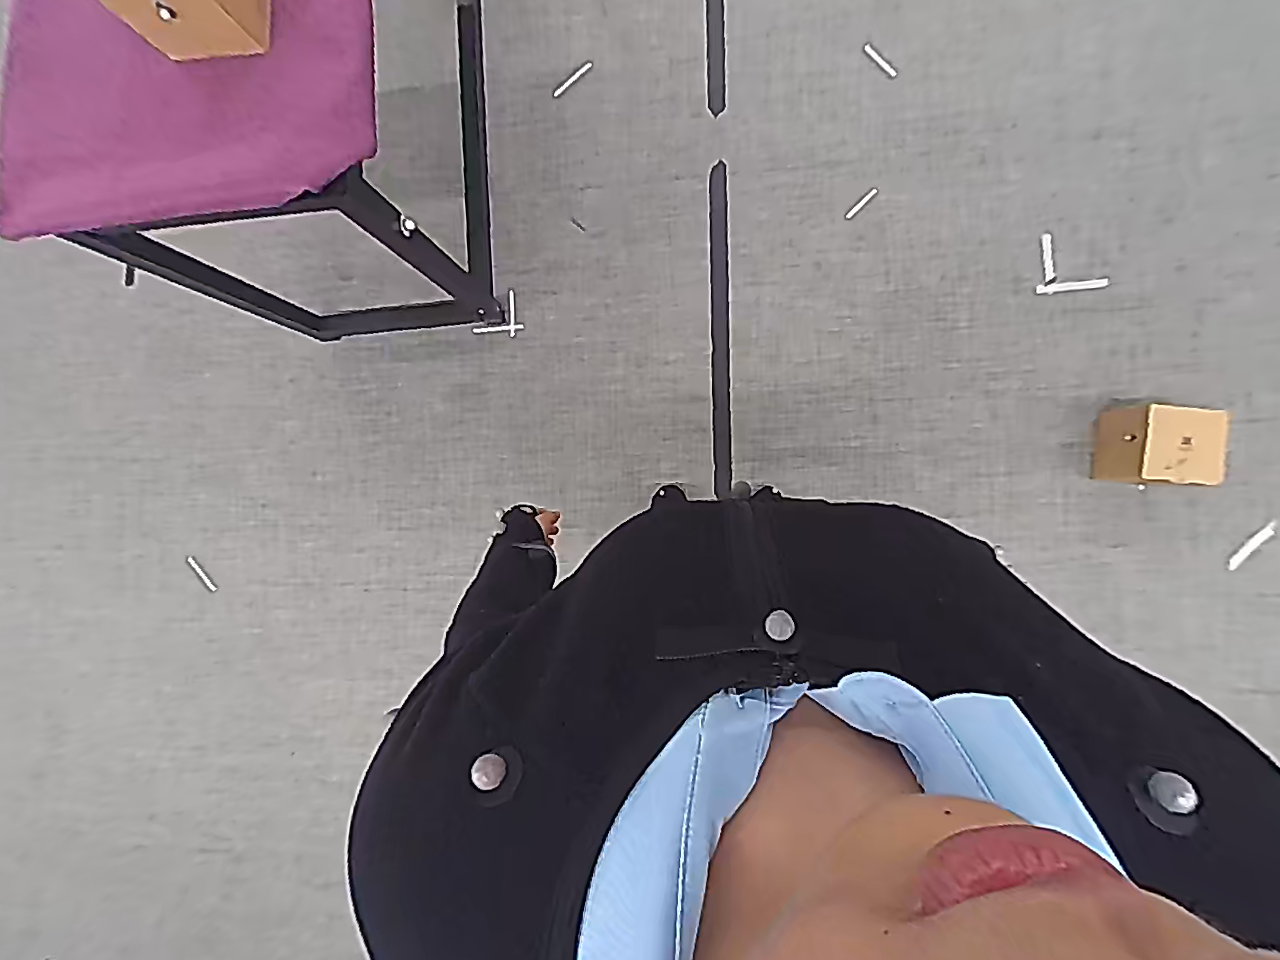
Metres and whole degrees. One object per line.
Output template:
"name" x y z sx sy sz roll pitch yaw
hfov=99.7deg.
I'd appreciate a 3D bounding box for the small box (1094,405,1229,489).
"small box" 1.253 -0.075 1.312 0.168 0.176 0.179 7 90 7
